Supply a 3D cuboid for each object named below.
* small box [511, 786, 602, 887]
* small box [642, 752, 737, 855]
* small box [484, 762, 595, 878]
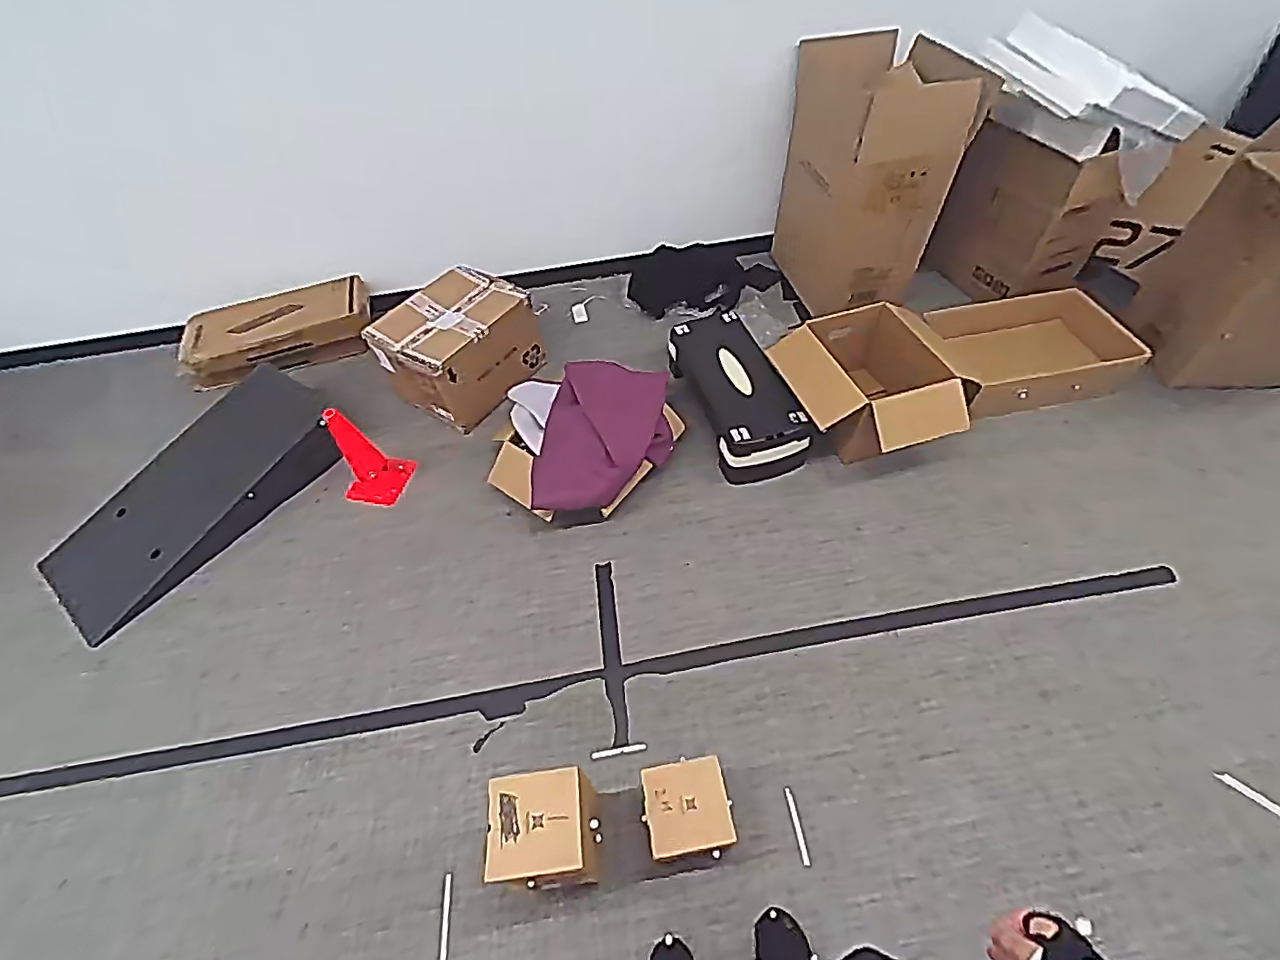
[{"bbox_3d":[-0.178,0.771,1.184,0.168,0.176,0.179,-8,54,0],"label":"small box"},{"bbox_3d":[0.104,0.718,1.198,0.179,0.176,0.168,-10,53,-2],"label":"small box"},{"bbox_3d":[-0.189,0.666,1.056,0.179,0.176,0.168,-7,53,-1],"label":"small box"}]
